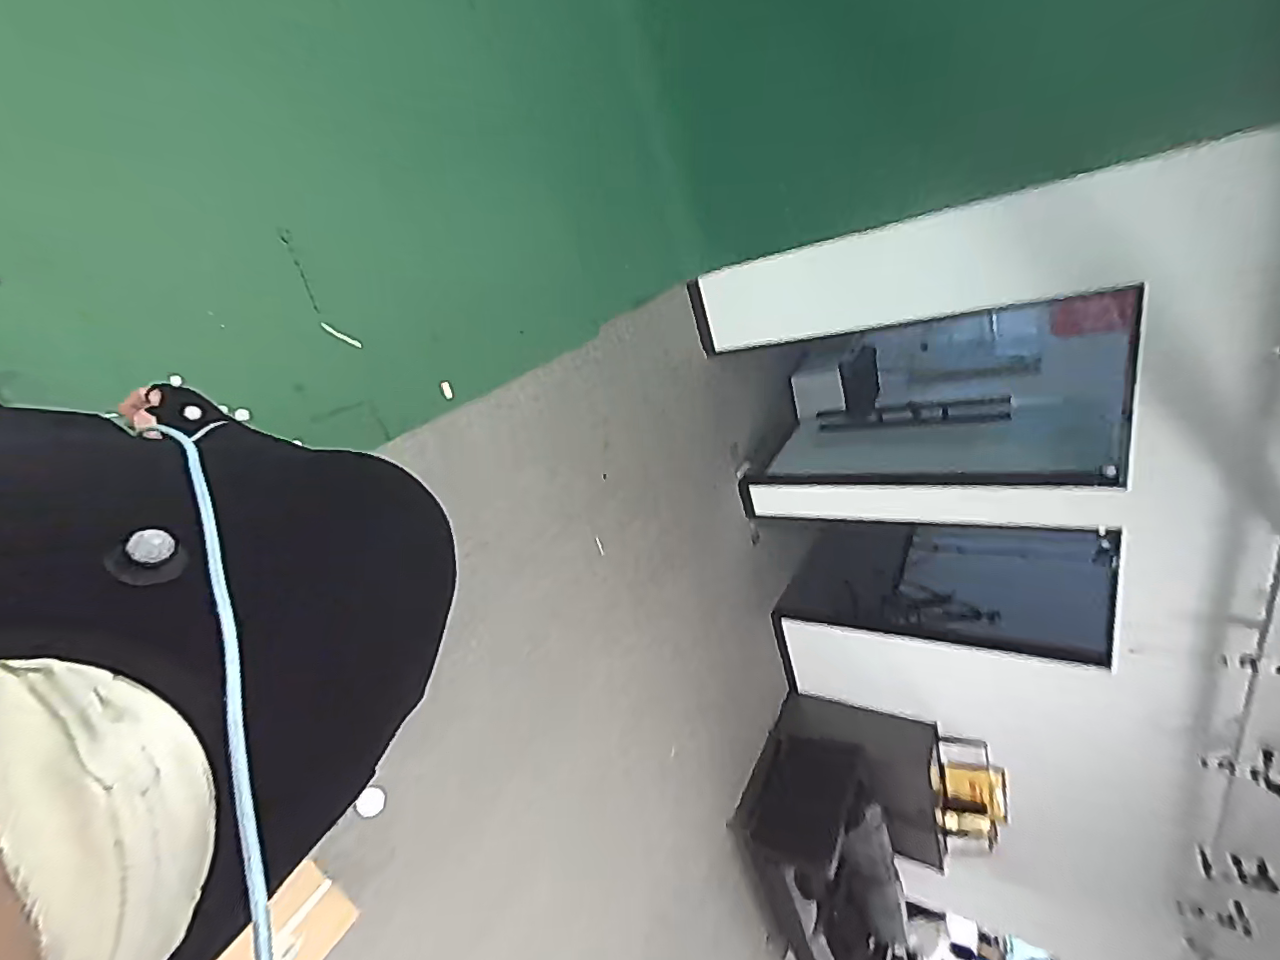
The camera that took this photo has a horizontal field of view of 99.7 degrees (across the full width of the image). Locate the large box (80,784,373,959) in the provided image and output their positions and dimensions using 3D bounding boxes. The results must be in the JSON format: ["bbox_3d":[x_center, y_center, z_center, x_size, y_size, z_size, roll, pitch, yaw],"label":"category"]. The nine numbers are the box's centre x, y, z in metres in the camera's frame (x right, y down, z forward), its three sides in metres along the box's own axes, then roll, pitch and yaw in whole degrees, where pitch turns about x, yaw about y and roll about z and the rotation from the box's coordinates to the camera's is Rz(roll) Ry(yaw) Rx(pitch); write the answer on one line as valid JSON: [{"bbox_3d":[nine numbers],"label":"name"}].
[{"bbox_3d":[-0.949,1.032,1.276,0.408,0.320,0.320,-46,125,-44],"label":"large box"}]
